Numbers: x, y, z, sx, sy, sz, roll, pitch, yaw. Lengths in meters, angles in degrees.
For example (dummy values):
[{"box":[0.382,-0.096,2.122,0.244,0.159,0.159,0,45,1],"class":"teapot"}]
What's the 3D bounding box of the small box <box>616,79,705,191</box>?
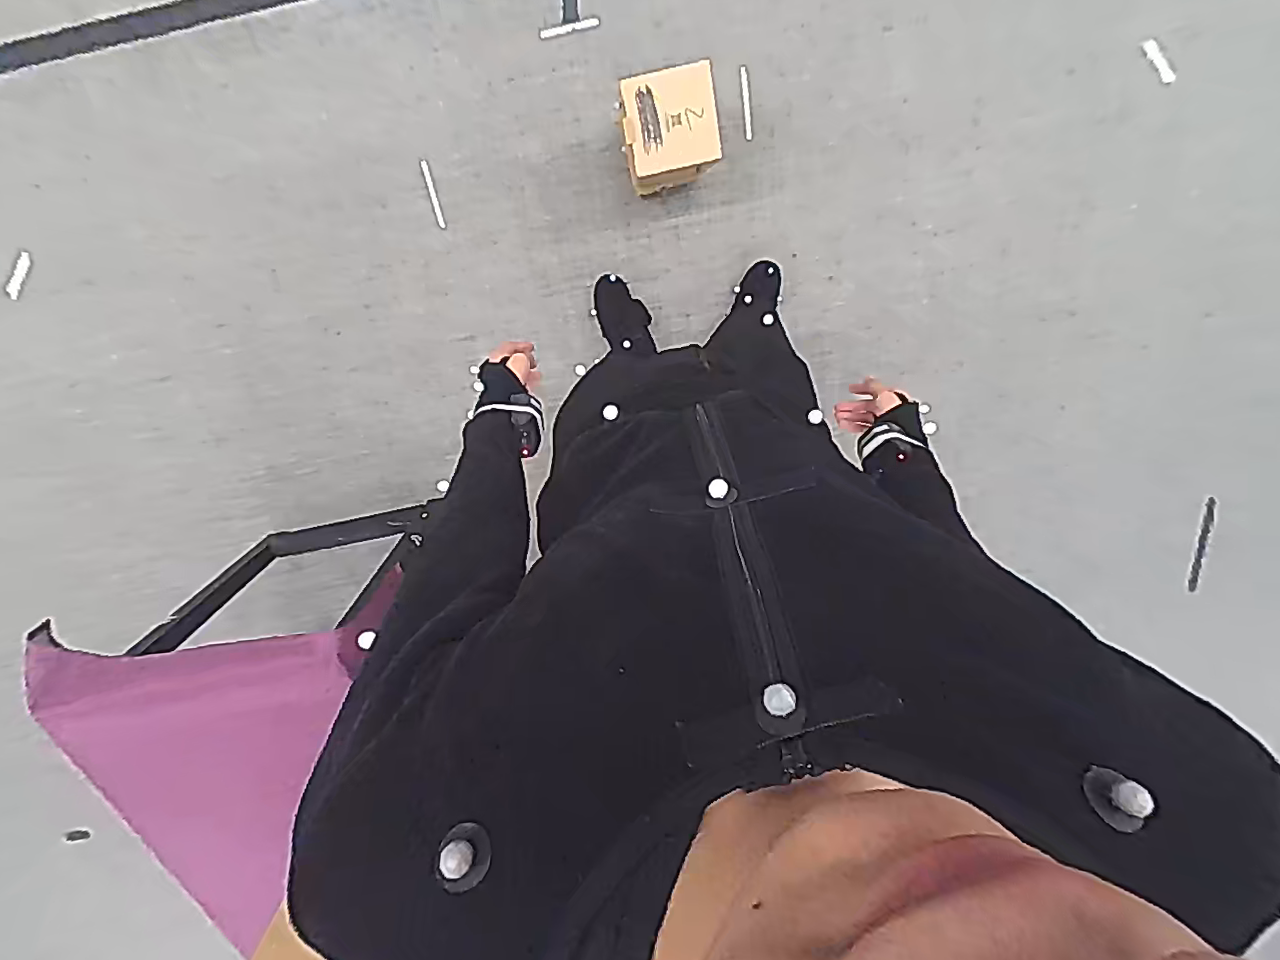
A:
[{"box":[0.046,-0.787,1.256,0.168,0.176,0.179,-15,113,3],"class":"small box"}]
